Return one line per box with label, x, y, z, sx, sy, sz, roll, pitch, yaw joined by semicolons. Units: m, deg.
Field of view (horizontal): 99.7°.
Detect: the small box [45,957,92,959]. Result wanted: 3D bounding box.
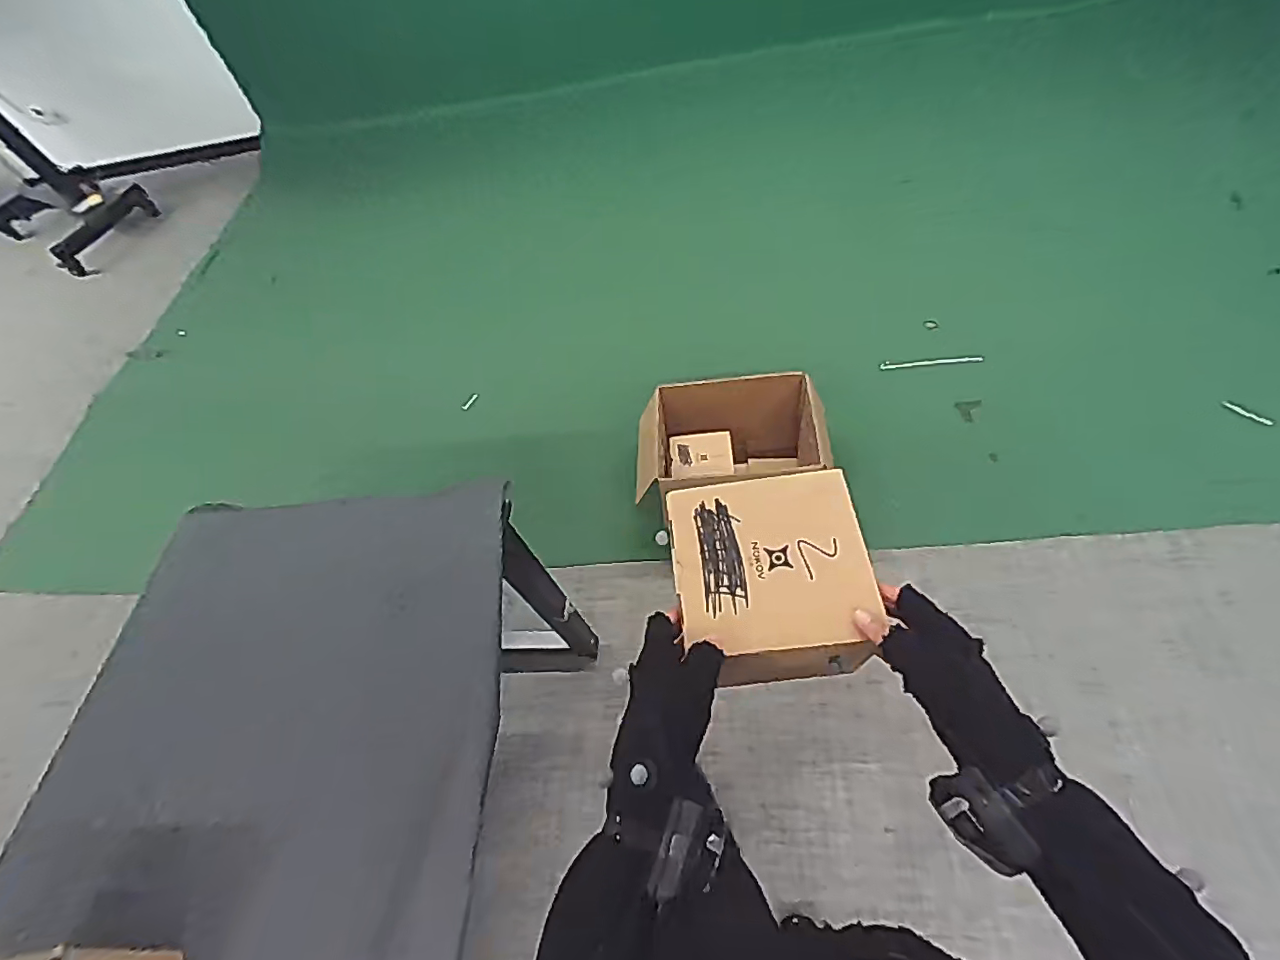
small box;-0.599;0.568;0.498;0.168;0.176;0.179;-6;57;7
